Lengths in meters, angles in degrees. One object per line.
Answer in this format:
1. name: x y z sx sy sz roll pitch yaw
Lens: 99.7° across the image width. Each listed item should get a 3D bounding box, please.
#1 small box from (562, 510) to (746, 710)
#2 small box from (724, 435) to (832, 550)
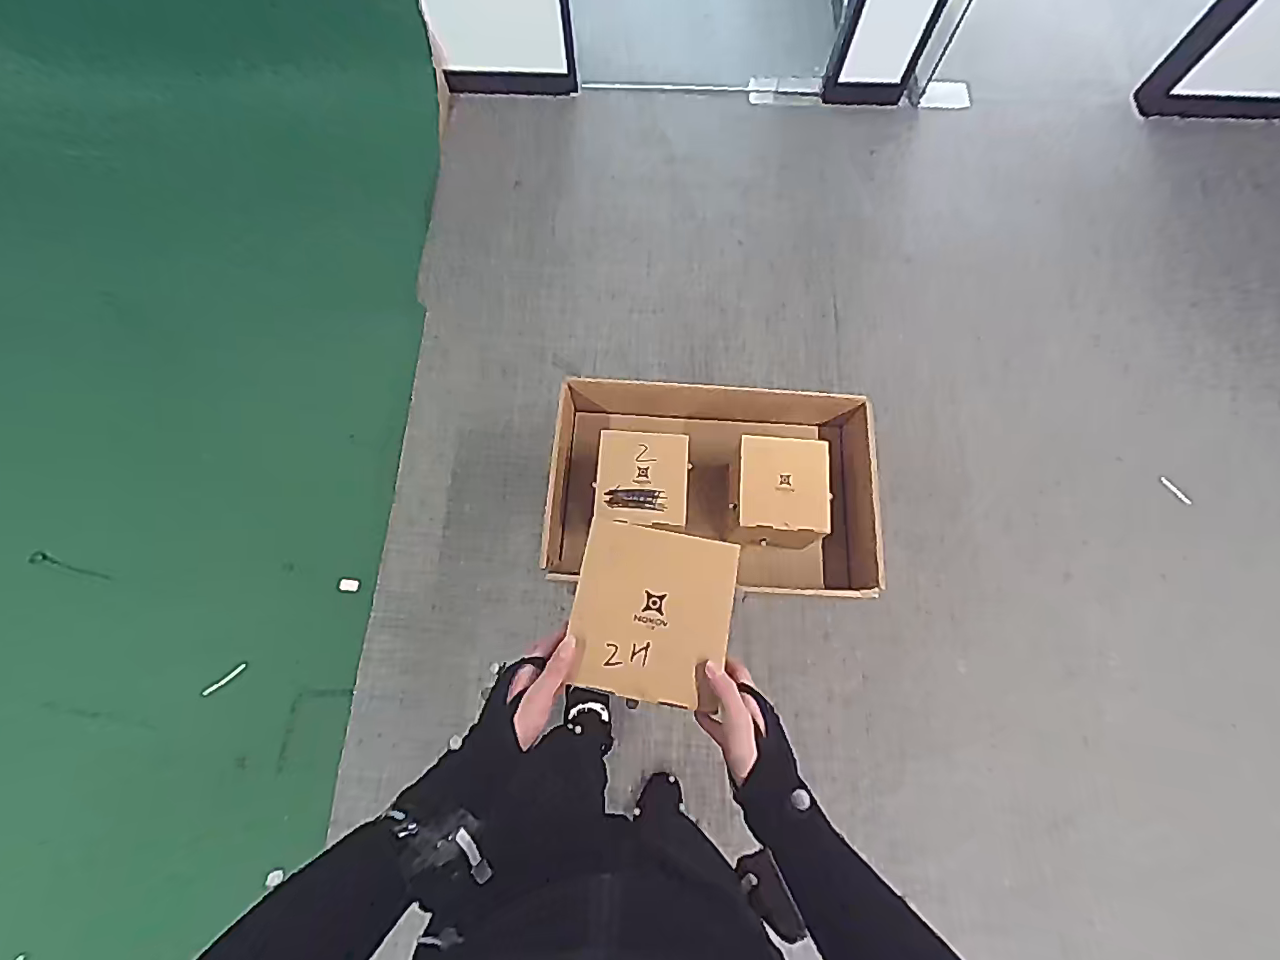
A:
1. small box: 0.015 0.155 0.632 0.168 0.176 0.179 12 71 2
2. small box: 0.262 0.029 1.053 0.168 0.176 0.179 5 73 -1
